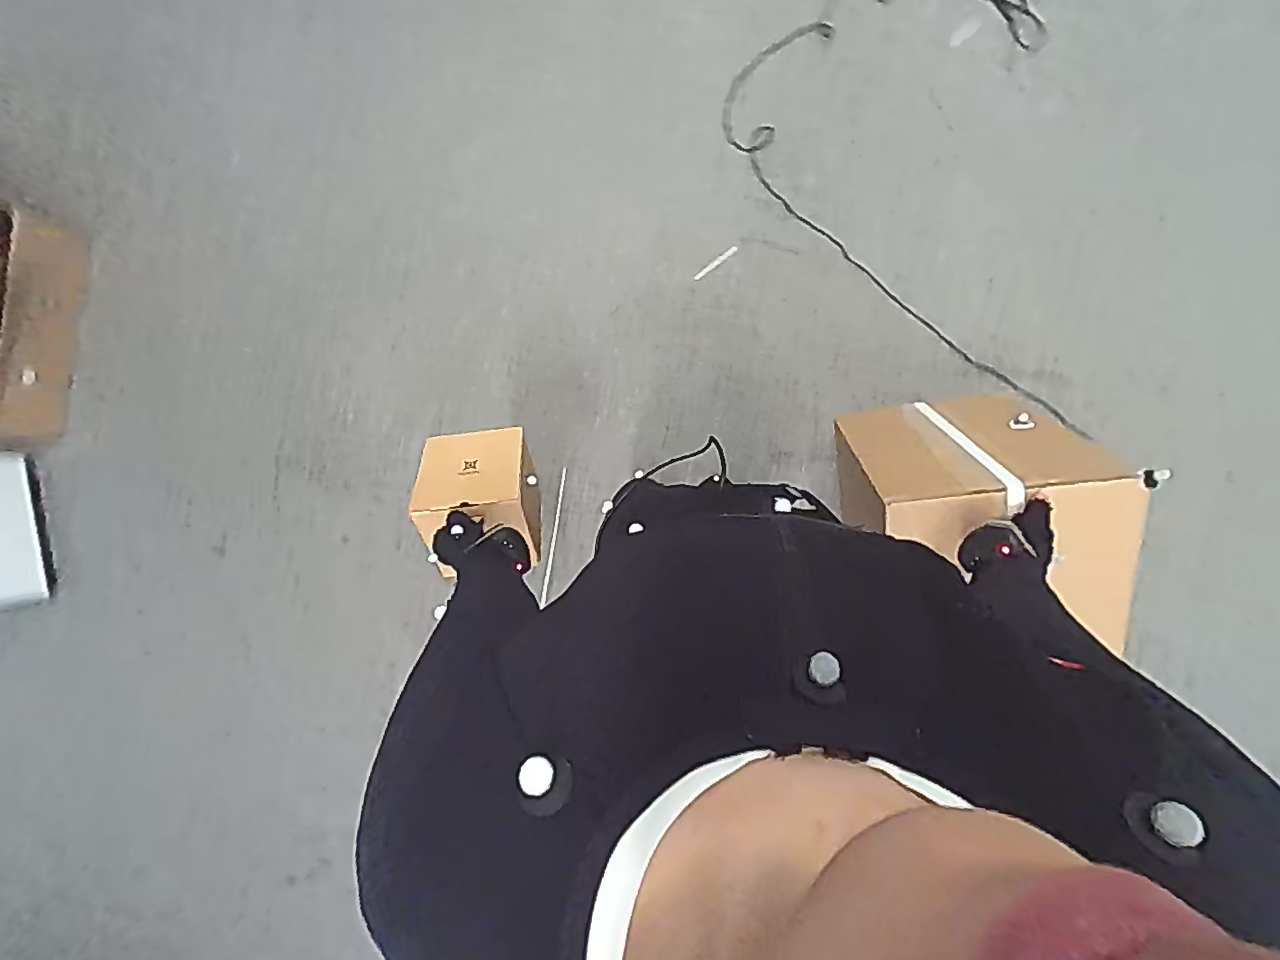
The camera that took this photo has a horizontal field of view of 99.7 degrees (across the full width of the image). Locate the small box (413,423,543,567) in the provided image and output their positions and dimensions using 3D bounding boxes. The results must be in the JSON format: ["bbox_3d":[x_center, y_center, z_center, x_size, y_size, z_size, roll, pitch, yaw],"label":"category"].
[{"bbox_3d":[-0.265,0.026,0.928,0.168,0.176,0.179,-6,46,-2],"label":"small box"}]
